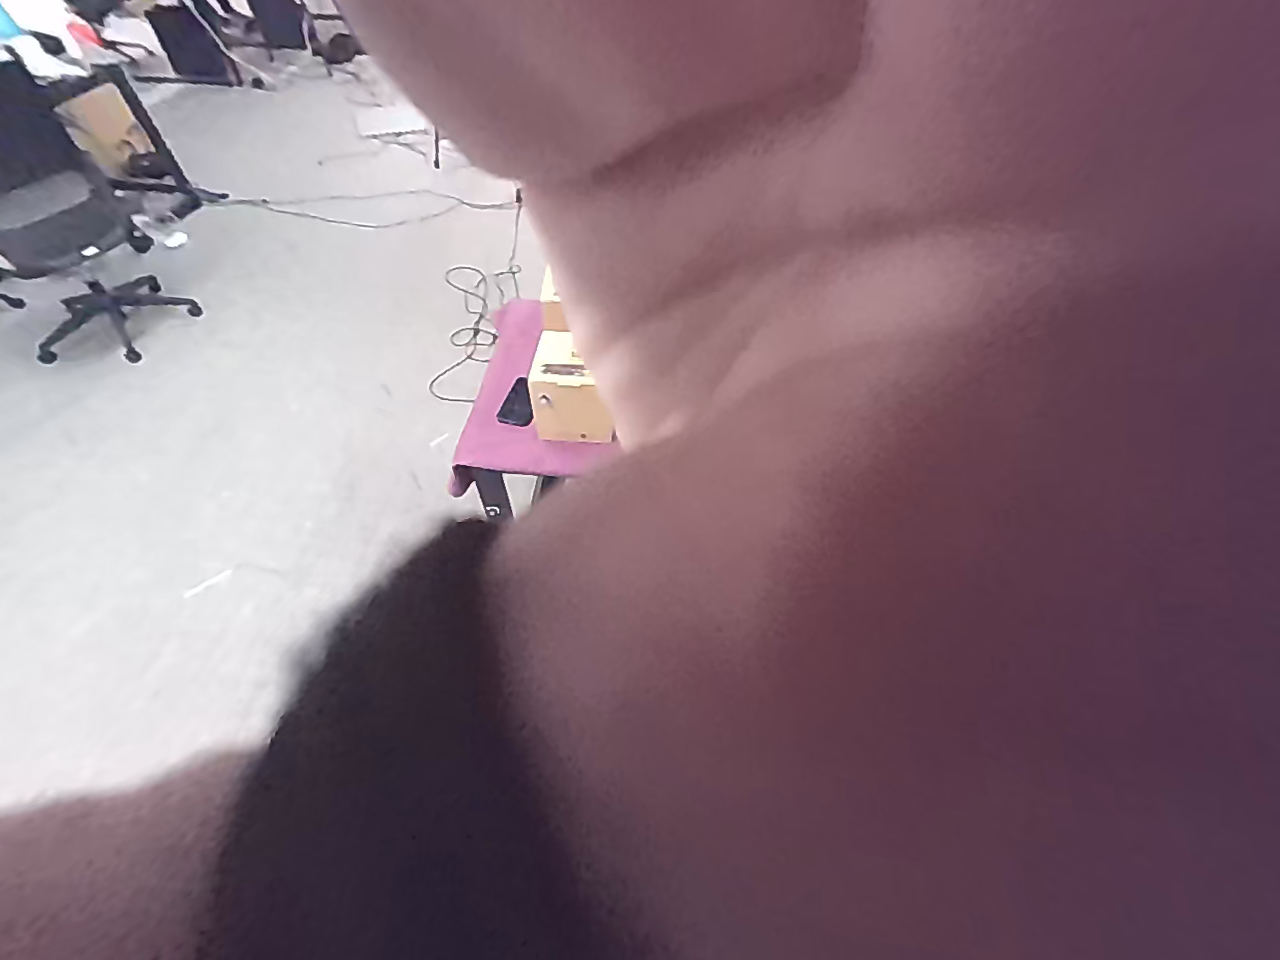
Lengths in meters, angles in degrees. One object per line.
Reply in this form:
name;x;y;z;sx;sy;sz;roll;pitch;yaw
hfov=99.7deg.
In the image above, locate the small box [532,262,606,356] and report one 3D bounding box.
small box;-0.173;-0.431;1.376;0.168;0.176;0.179;1;51;-2
